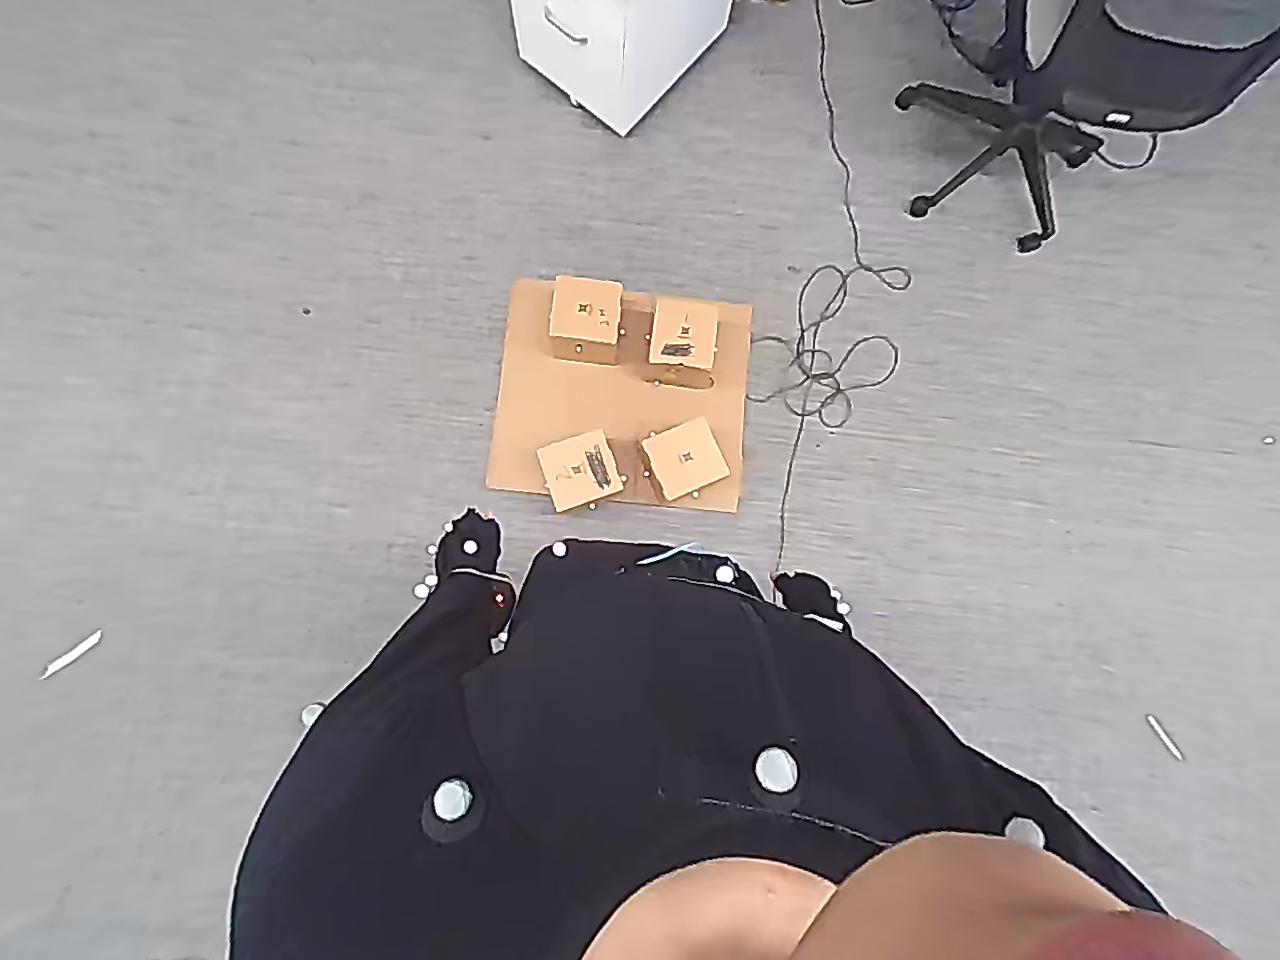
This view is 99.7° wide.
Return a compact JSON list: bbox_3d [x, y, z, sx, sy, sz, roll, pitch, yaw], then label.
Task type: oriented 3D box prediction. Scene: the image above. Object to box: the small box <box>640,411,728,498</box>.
[{"bbox_3d":[0.109,-0.063,1.436,0.179,0.176,0.168,-23,85,-5],"label":"small box"}]
